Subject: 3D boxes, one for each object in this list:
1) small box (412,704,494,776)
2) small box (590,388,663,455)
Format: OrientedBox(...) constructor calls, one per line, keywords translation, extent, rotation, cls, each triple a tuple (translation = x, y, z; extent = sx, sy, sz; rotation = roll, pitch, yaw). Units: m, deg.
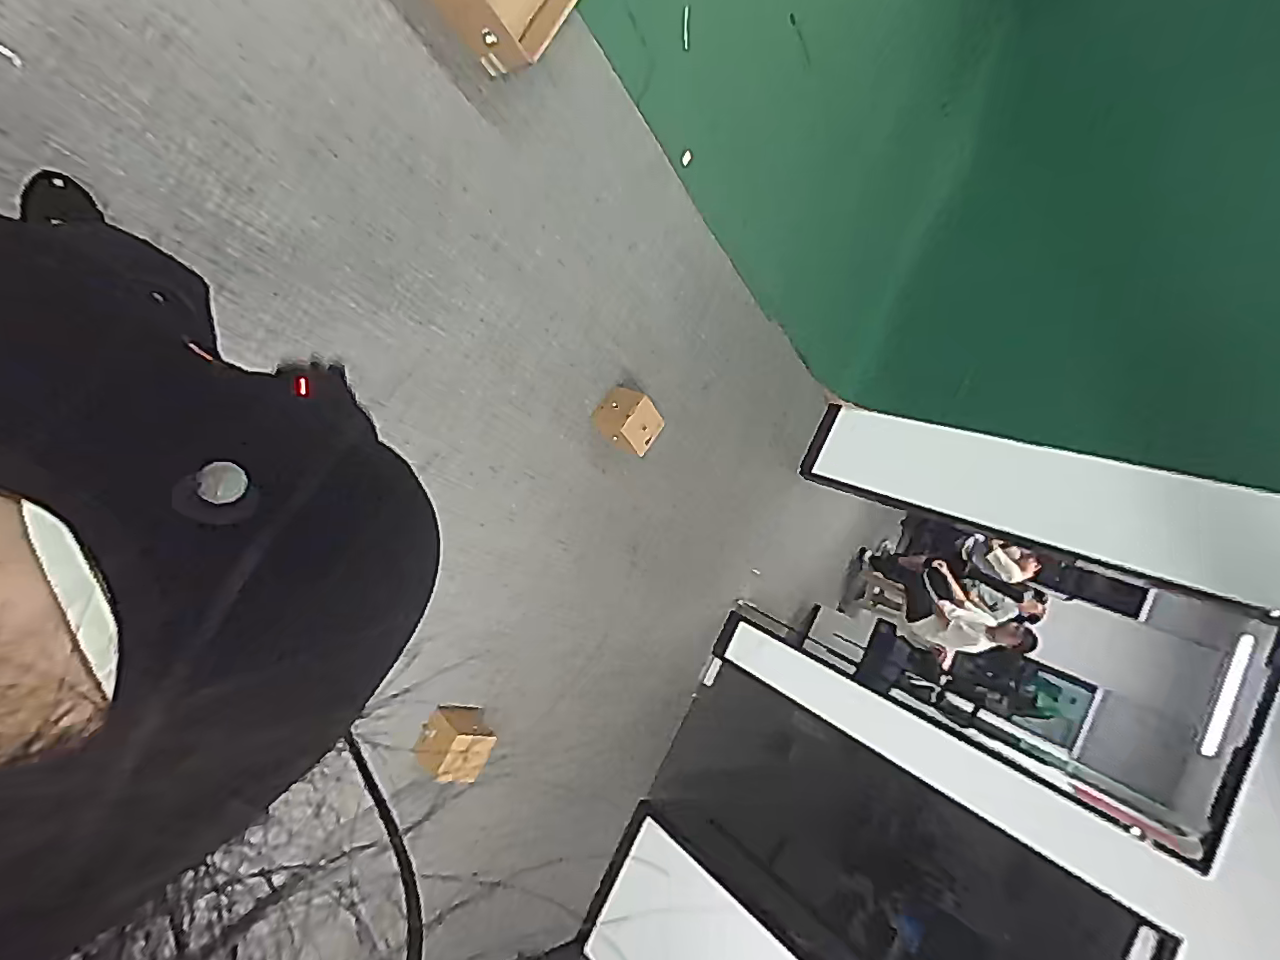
OrientedBox(translation=(-0.654, 0.904, 1.886), extent=(0.179, 0.176, 0.168), rotation=(34, 80, -48), cls="small box")
OrientedBox(translation=(-0.053, -0.223, 2.010), extent=(0.168, 0.176, 0.179), rotation=(-54, 138, -15), cls="small box")
